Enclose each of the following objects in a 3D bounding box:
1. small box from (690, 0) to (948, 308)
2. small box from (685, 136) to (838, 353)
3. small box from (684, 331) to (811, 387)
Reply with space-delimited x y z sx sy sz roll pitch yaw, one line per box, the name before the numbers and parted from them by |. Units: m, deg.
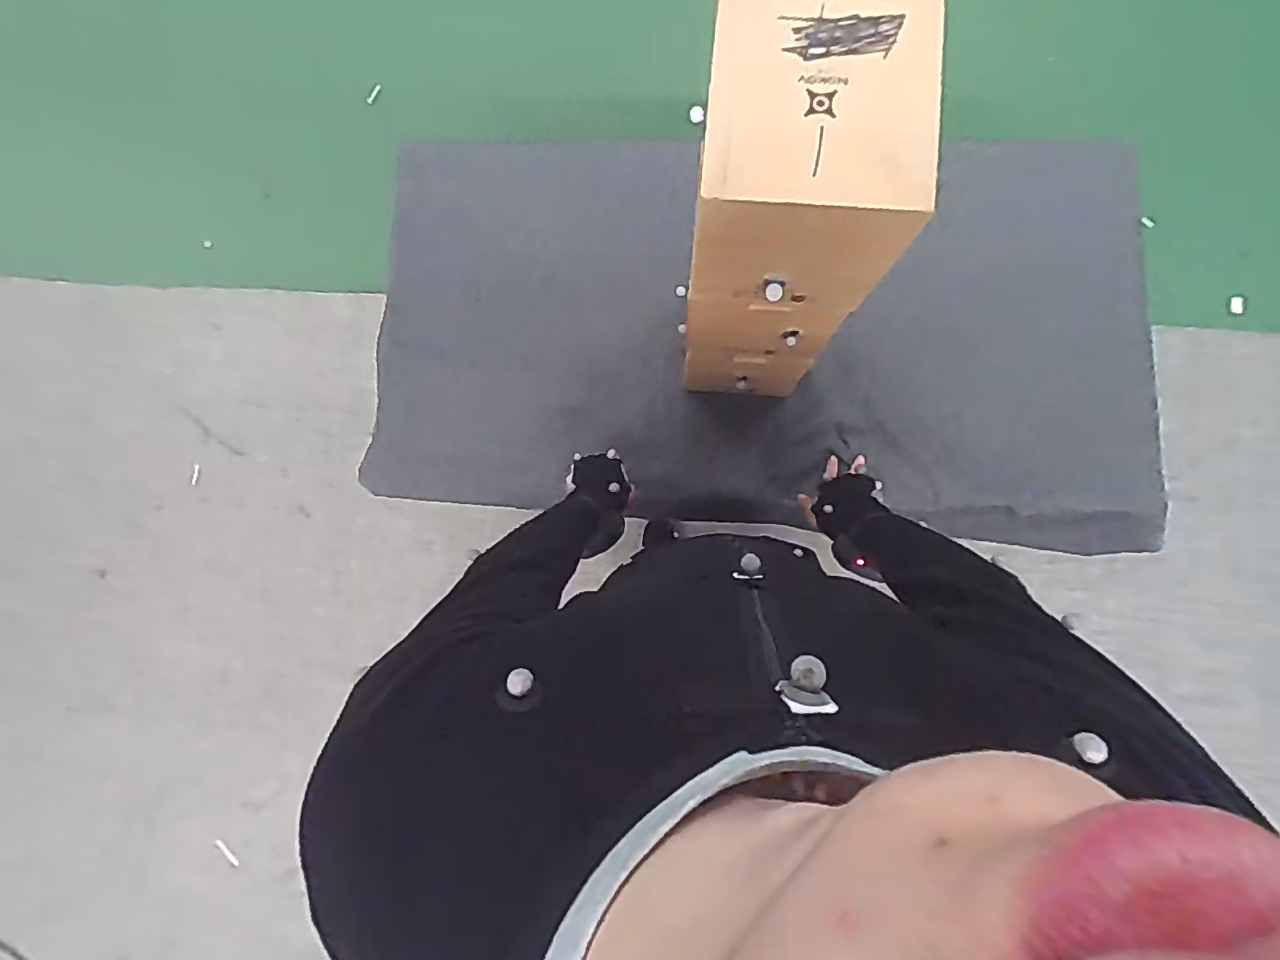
small box | 0.134 -0.271 0.463 0.168 0.176 0.179 6 86 4
small box | 0.140 -0.259 0.627 0.168 0.176 0.179 4 83 3
small box | 0.154 -0.242 0.788 0.168 0.176 0.179 5 85 4
